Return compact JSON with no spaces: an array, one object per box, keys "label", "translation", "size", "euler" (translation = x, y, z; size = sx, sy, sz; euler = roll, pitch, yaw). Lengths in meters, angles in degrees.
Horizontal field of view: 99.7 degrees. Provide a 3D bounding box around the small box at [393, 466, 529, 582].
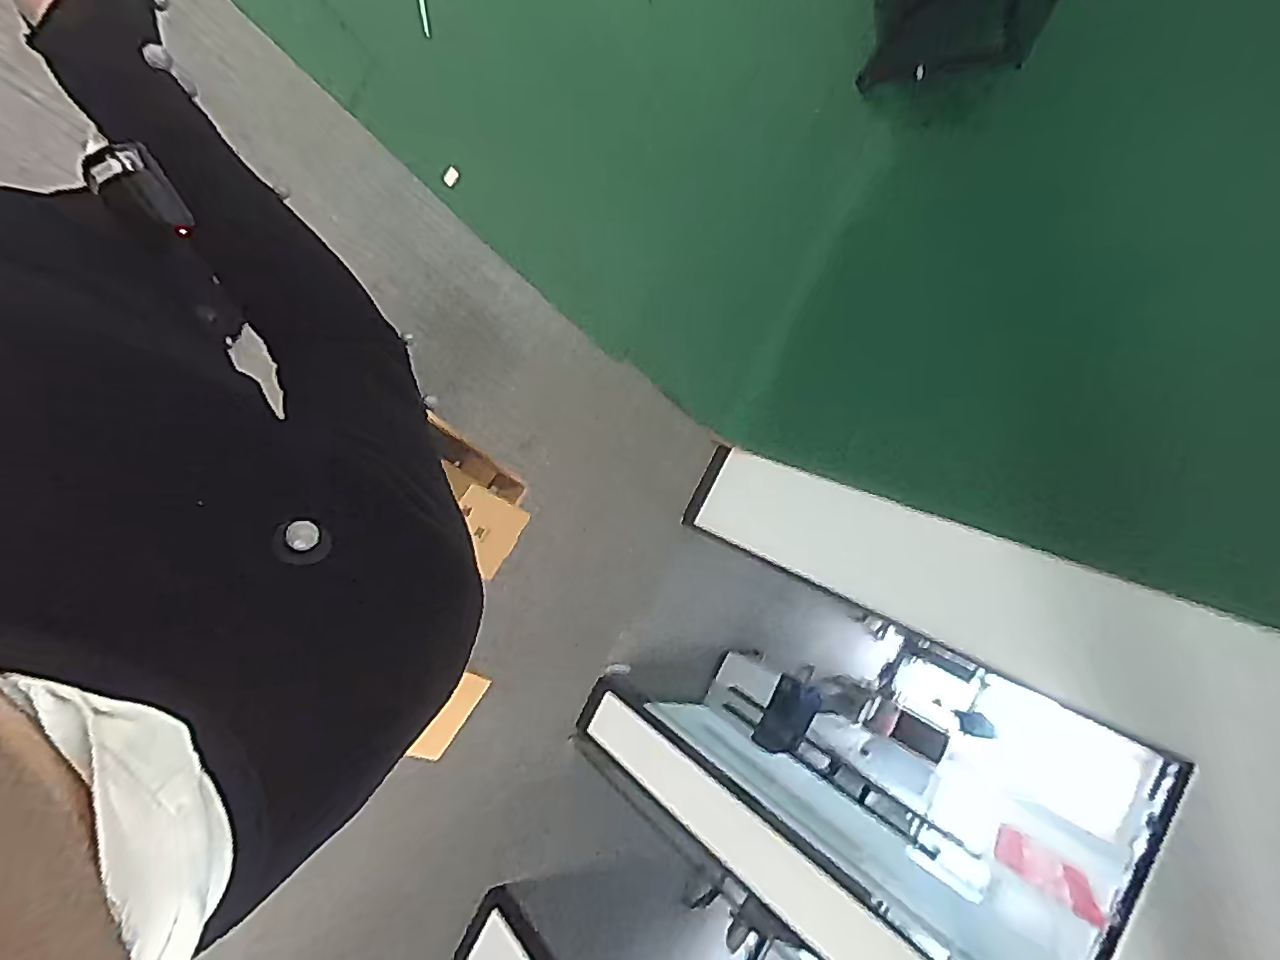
[{"label":"small box","translation":[-0.380,0.089,1.149],"size":[0.168,0.176,0.179],"euler":[-60,141,-9]}]
